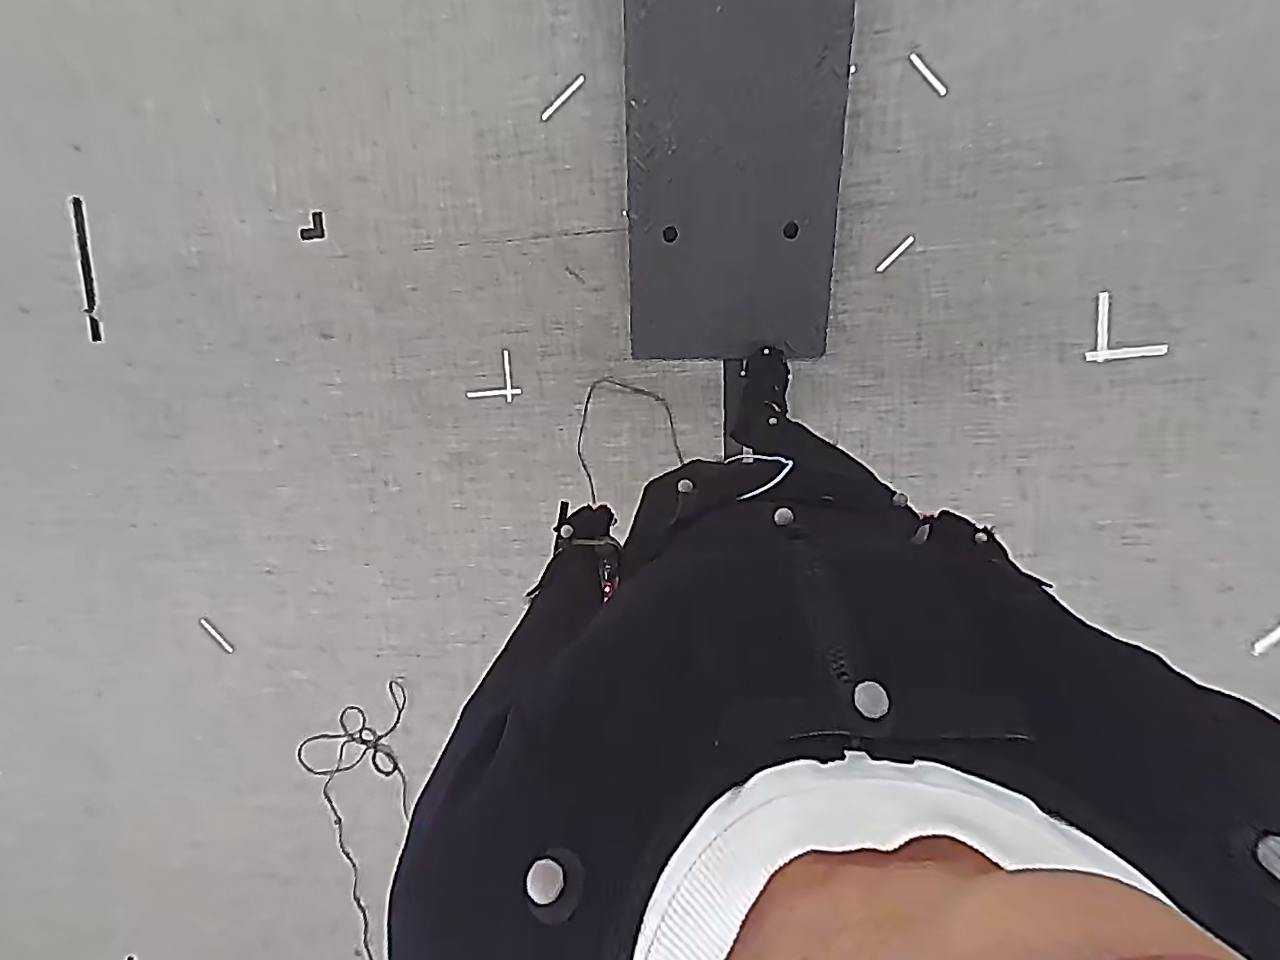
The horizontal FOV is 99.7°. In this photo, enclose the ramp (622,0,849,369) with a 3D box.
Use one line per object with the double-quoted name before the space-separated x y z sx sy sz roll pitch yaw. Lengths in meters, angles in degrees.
"ramp" 0.217 -0.772 1.254 0.509 0.206 0.991 -2 97 7
